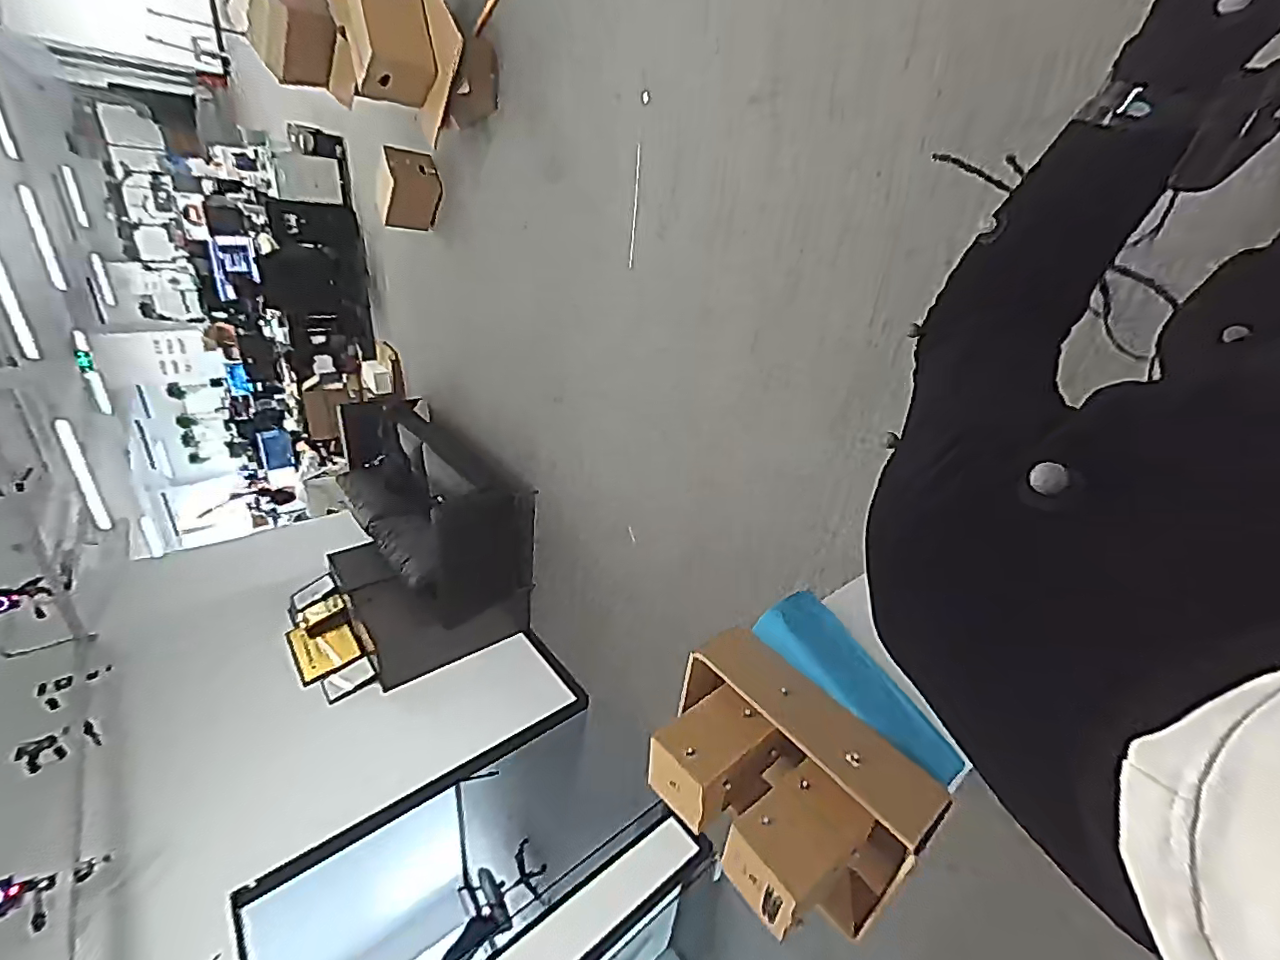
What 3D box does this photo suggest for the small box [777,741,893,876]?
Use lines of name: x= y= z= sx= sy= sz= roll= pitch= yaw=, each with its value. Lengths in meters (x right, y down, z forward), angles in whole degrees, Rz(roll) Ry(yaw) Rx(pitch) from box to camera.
small box: x=0.451 y=0.751 z=1.254 sx=0.179 sy=0.176 sz=0.168 roll=36 pitch=132 yaw=43

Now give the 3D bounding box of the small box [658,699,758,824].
small box: x=0.165 y=0.677 z=1.323 sx=0.179 sy=0.176 sz=0.168 roll=30 pitch=127 yaw=44
